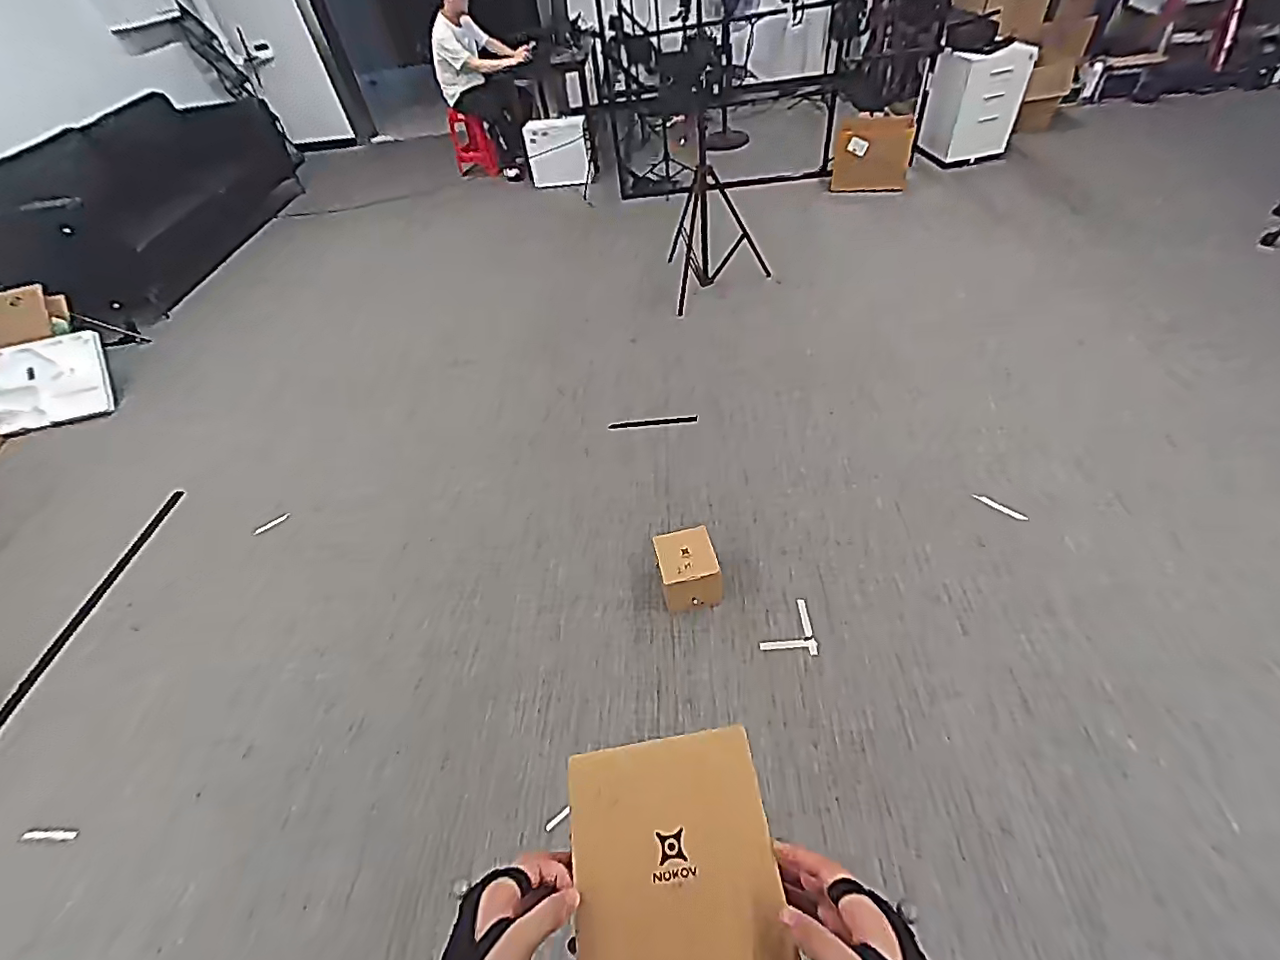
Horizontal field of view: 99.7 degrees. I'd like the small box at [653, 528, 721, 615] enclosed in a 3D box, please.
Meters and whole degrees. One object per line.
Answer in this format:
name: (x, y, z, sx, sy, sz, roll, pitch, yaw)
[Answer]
small box: (0.141, 0.276, 1.628, 0.168, 0.176, 0.179, -13, 47, -3)
